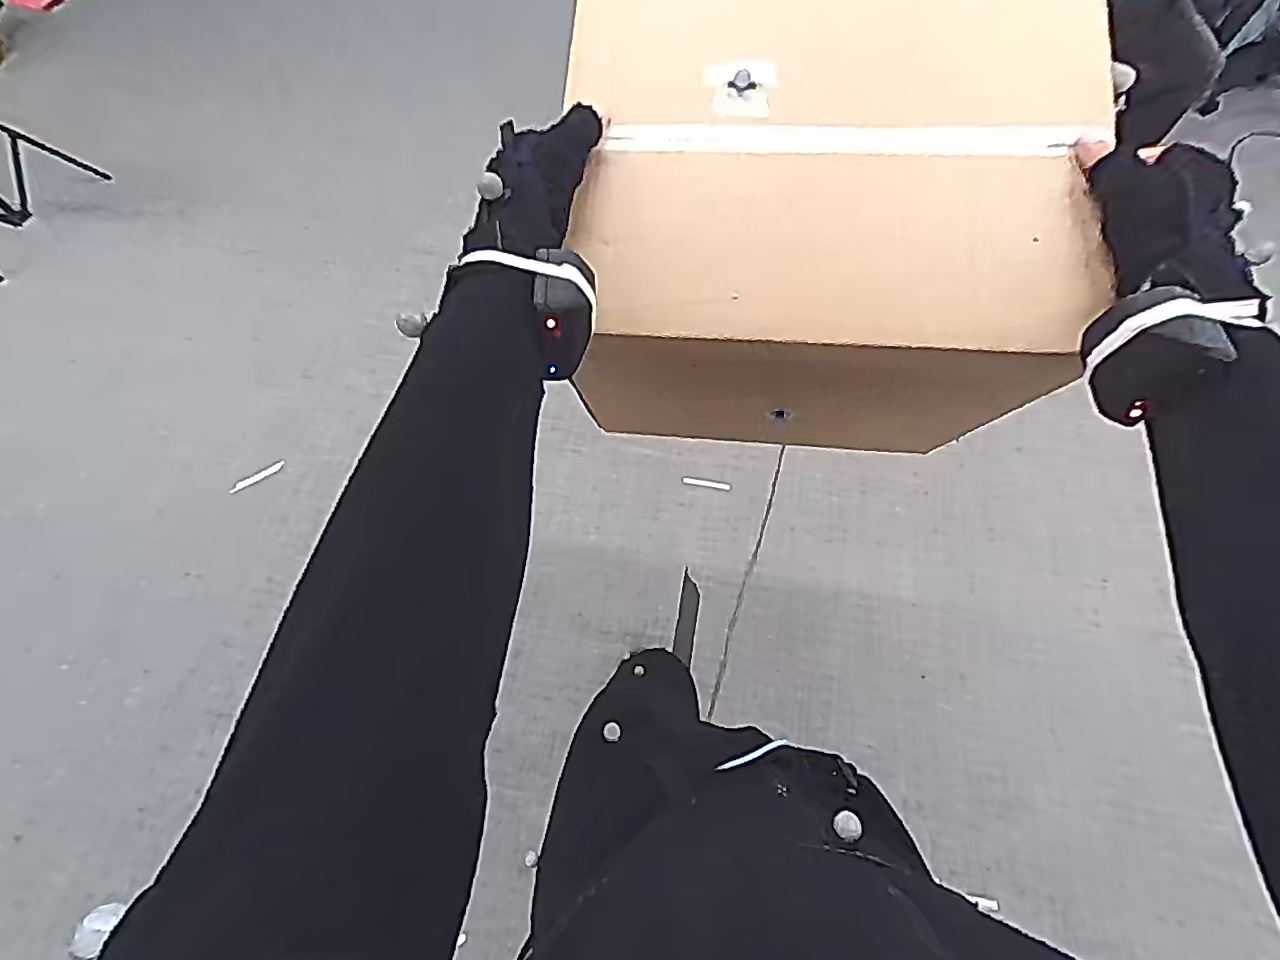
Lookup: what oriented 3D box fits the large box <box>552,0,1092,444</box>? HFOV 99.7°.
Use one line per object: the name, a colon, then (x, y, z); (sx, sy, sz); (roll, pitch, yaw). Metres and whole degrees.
large box: (0.155, -0.226, 0.575); (0.408, 0.320, 0.320); (4, 80, 7)
